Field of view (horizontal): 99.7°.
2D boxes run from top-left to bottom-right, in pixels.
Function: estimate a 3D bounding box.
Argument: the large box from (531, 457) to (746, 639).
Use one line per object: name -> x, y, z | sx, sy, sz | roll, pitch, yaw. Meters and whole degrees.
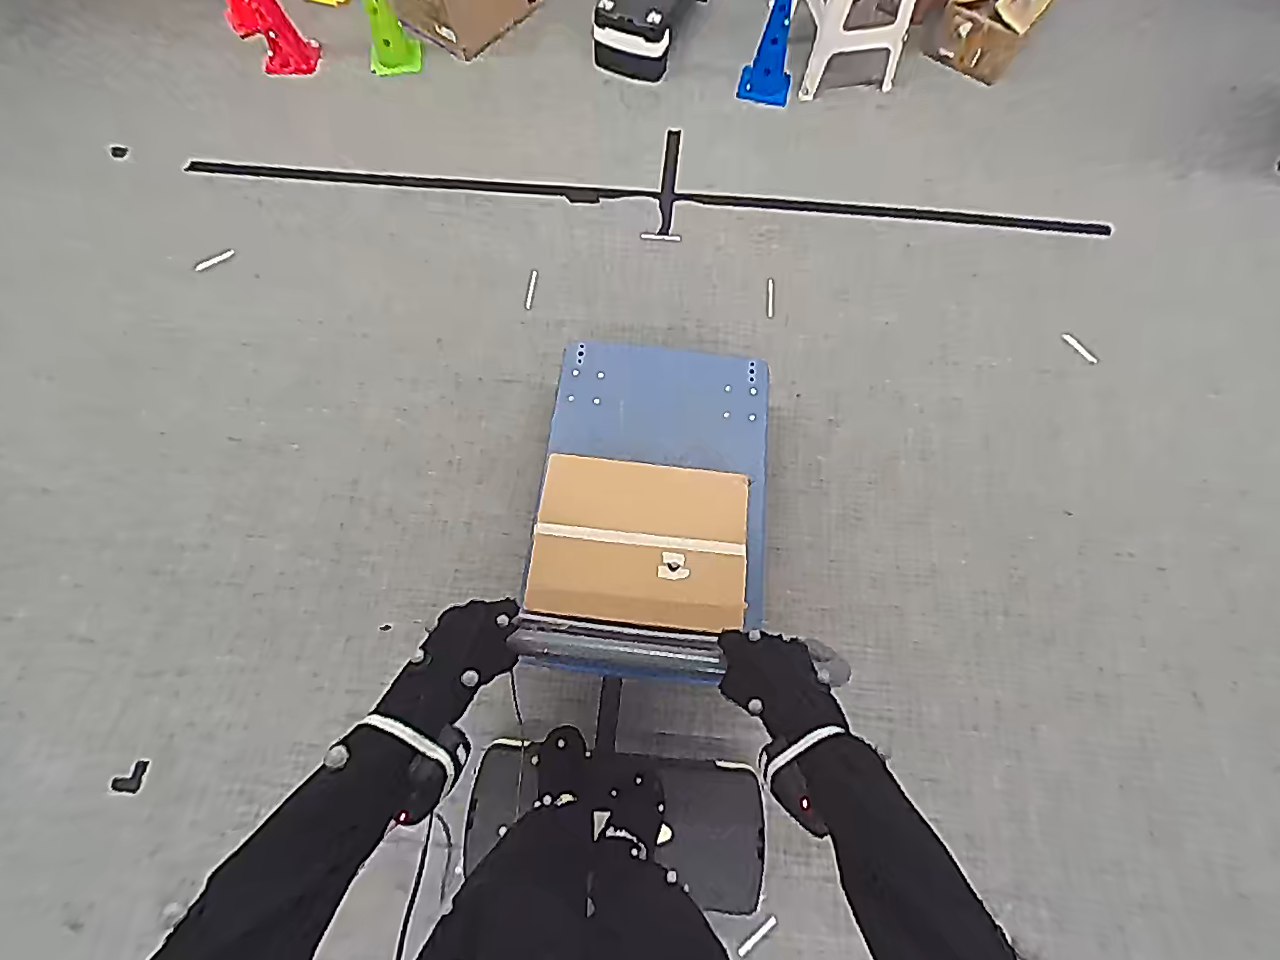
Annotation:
large box -> -0.001, 0.166, 1.194 | 0.408, 0.320, 0.320 | 7, 71, 0
